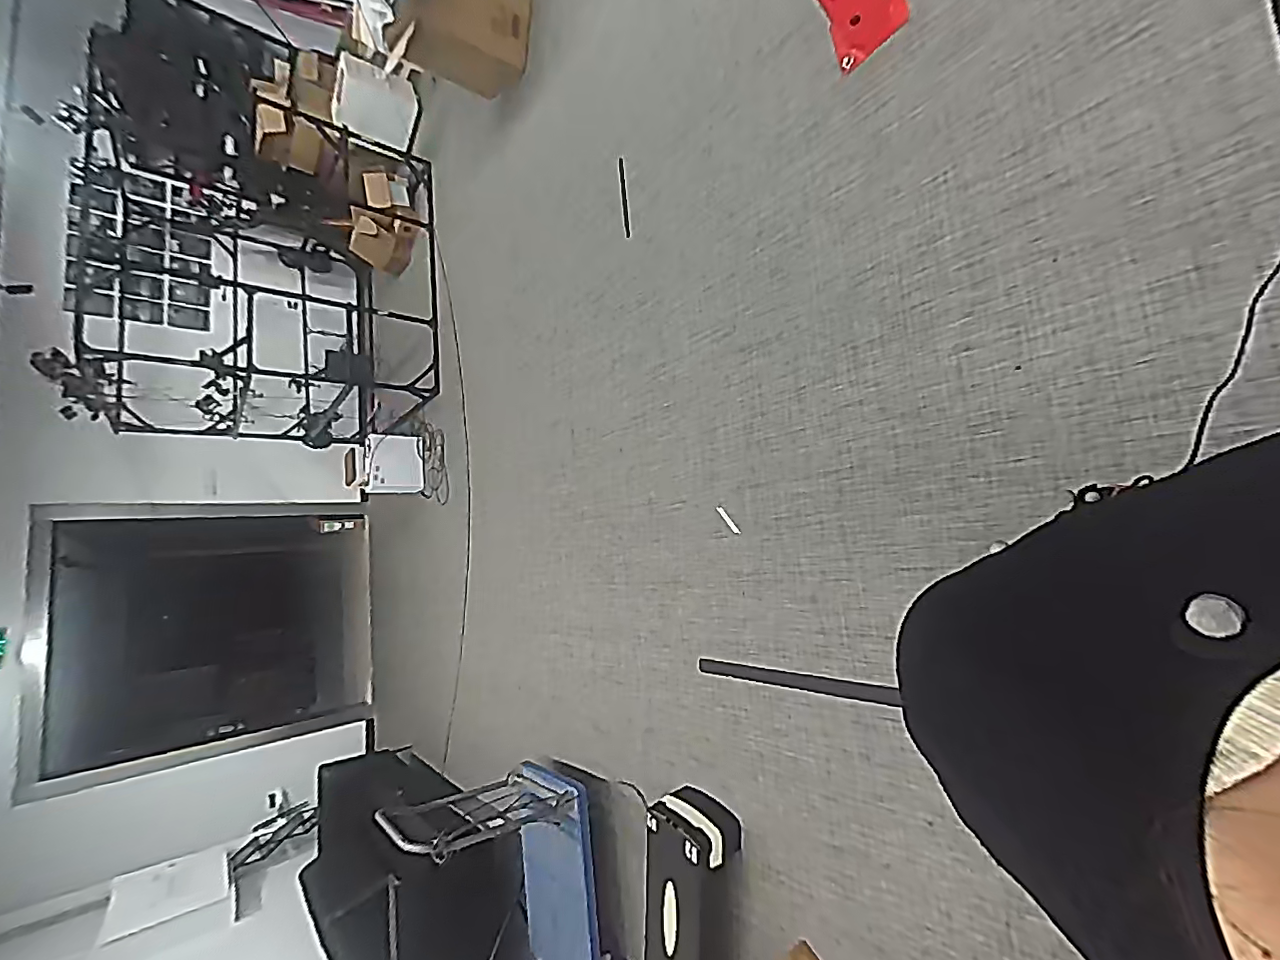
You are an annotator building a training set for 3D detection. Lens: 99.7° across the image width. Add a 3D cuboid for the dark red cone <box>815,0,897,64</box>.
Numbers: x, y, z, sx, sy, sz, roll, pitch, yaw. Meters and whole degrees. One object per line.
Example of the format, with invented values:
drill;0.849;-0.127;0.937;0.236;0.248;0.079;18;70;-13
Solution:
dark red cone;0.478;-1.308;1.399;0.201;0.394;0.202;-24;71;47
